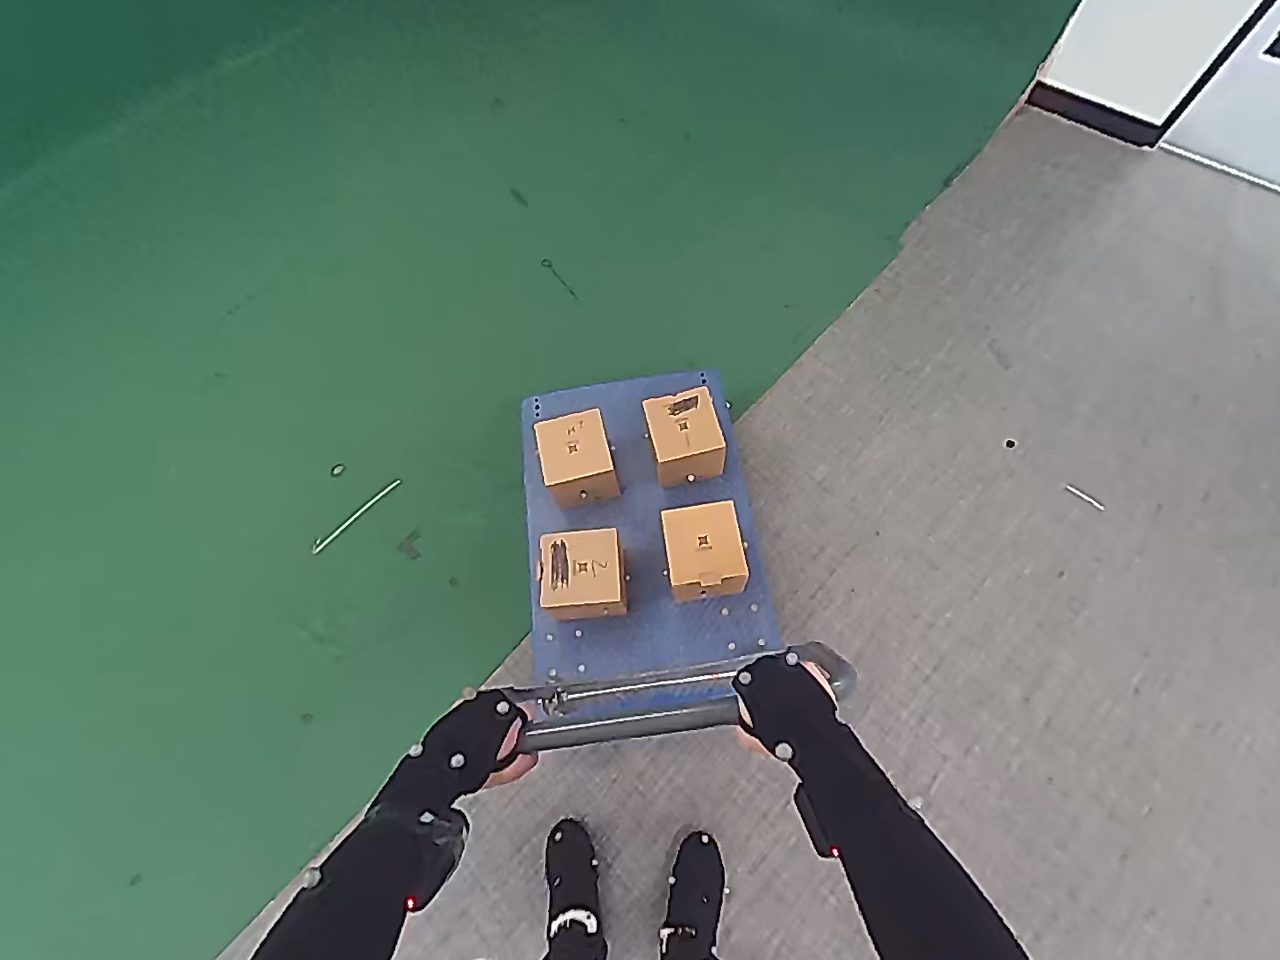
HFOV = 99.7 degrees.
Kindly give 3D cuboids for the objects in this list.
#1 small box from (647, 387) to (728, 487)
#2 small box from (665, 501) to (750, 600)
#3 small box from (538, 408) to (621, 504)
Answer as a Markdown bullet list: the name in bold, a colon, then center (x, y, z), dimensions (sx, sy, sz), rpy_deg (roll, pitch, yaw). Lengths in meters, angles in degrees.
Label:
- **small box**: center (0.115, -0.104, 1.362), dimensions (0.168, 0.176, 0.179), rpy_deg (-13, 68, -1)
- **small box**: center (0.148, 0.167, 1.247), dimensions (0.168, 0.176, 0.179), rpy_deg (-8, 67, 1)
- **small box**: center (-0.149, -0.052, 1.361), dimensions (0.168, 0.176, 0.179), rpy_deg (-13, 67, -2)
